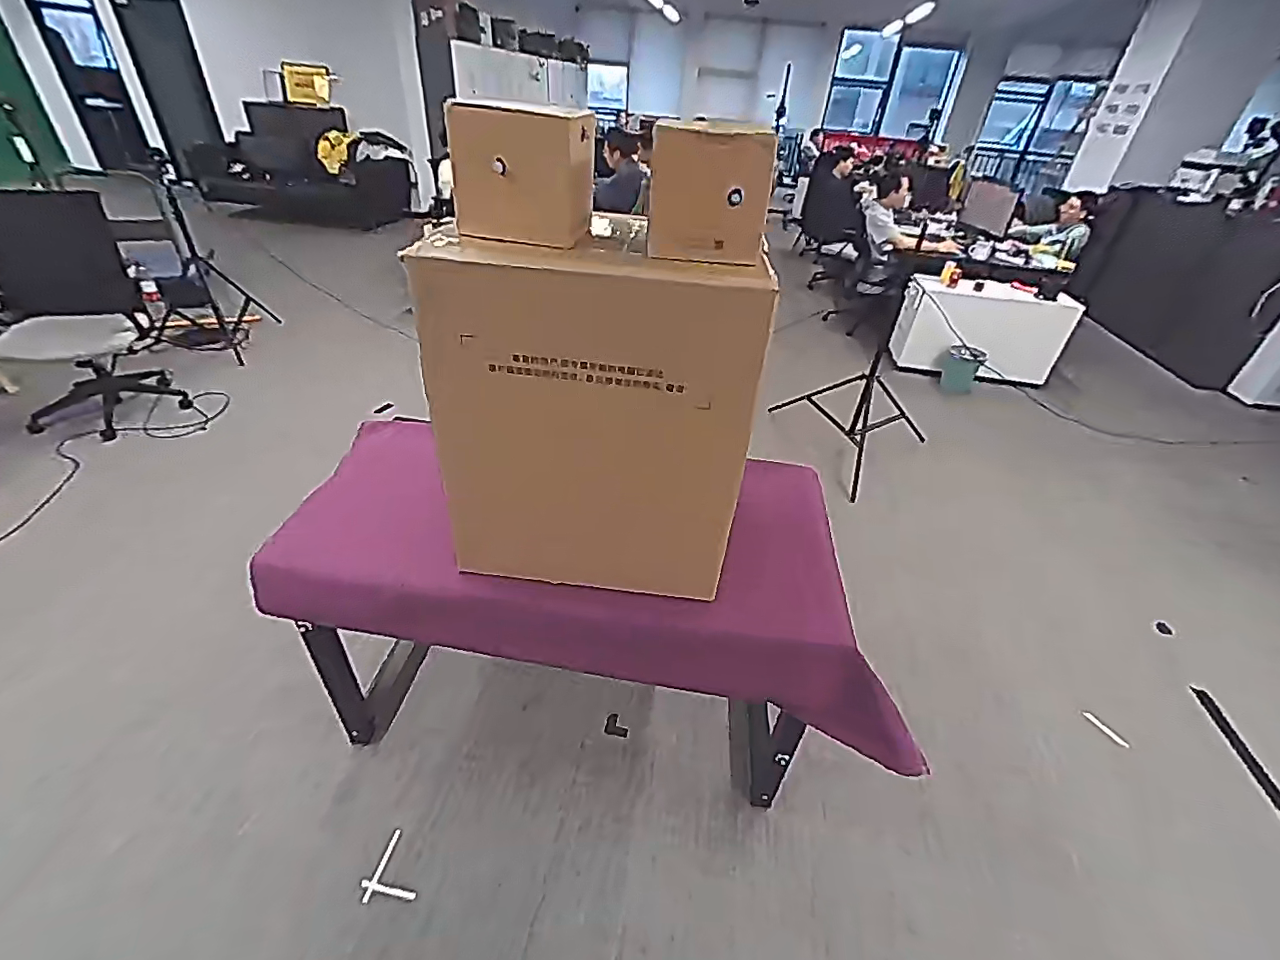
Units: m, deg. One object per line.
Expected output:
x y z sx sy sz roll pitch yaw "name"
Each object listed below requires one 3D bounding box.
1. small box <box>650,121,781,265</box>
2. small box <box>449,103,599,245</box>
0.105 -0.433 0.814 0.168 0.176 0.179 6 35 1 "small box"
-0.166 -0.467 0.825 0.179 0.176 0.168 8 36 4 "small box"
